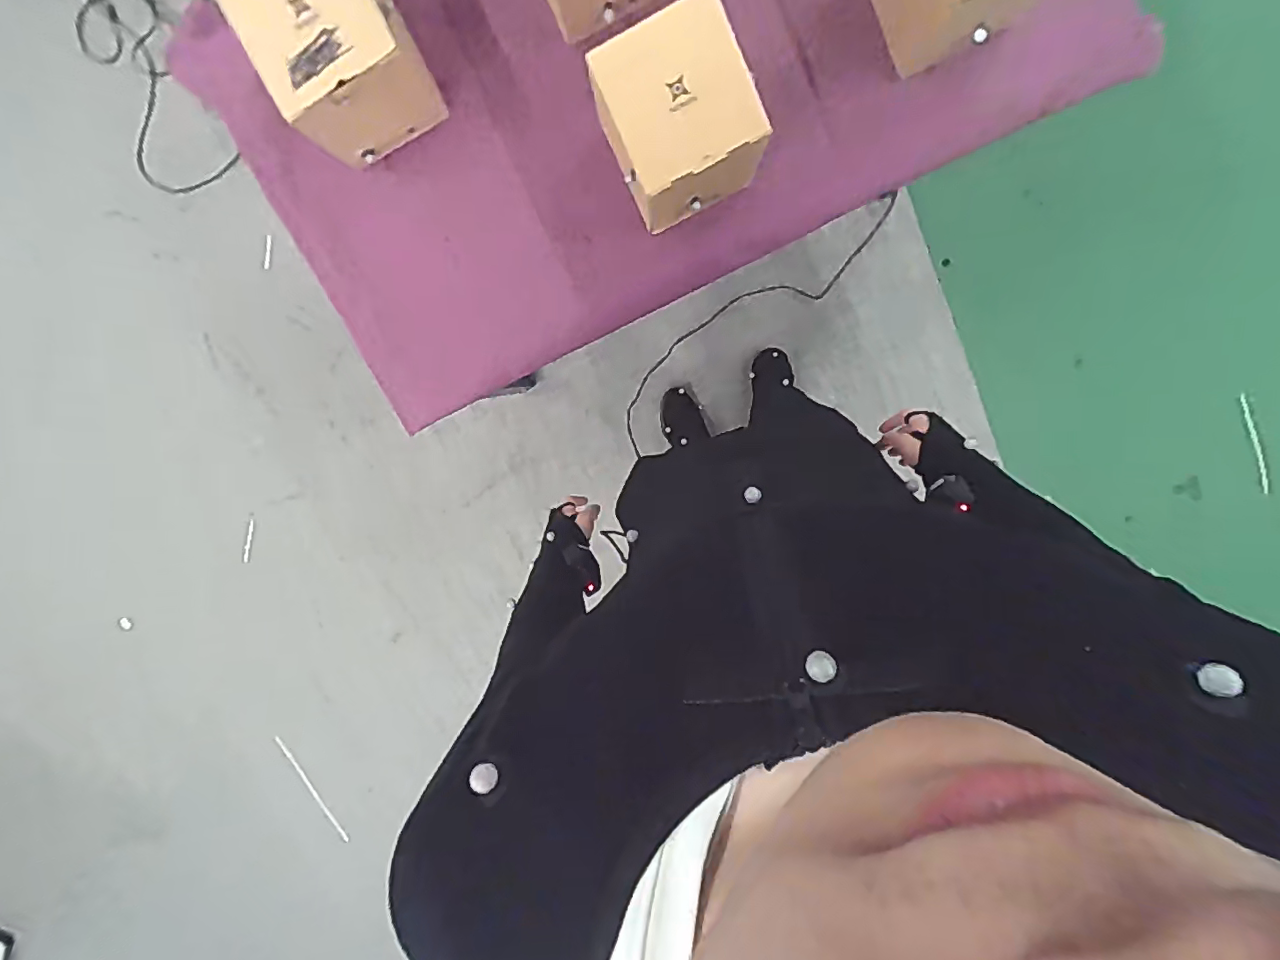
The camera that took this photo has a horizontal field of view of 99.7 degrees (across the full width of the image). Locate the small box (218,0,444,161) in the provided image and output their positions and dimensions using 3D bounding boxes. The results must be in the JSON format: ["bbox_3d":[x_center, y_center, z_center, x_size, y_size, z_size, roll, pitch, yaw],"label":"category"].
[{"bbox_3d":[-0.393,-0.559,0.715,0.168,0.176,0.179,-26,98,6],"label":"small box"}]

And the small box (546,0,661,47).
[{"bbox_3d":[-0.070,-0.709,0.676,0.168,0.176,0.179,-25,100,7],"label":"small box"}]

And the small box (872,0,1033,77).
[{"bbox_3d":[0.396,-0.657,0.662,0.168,0.176,0.179,-24,98,8],"label":"small box"}]
